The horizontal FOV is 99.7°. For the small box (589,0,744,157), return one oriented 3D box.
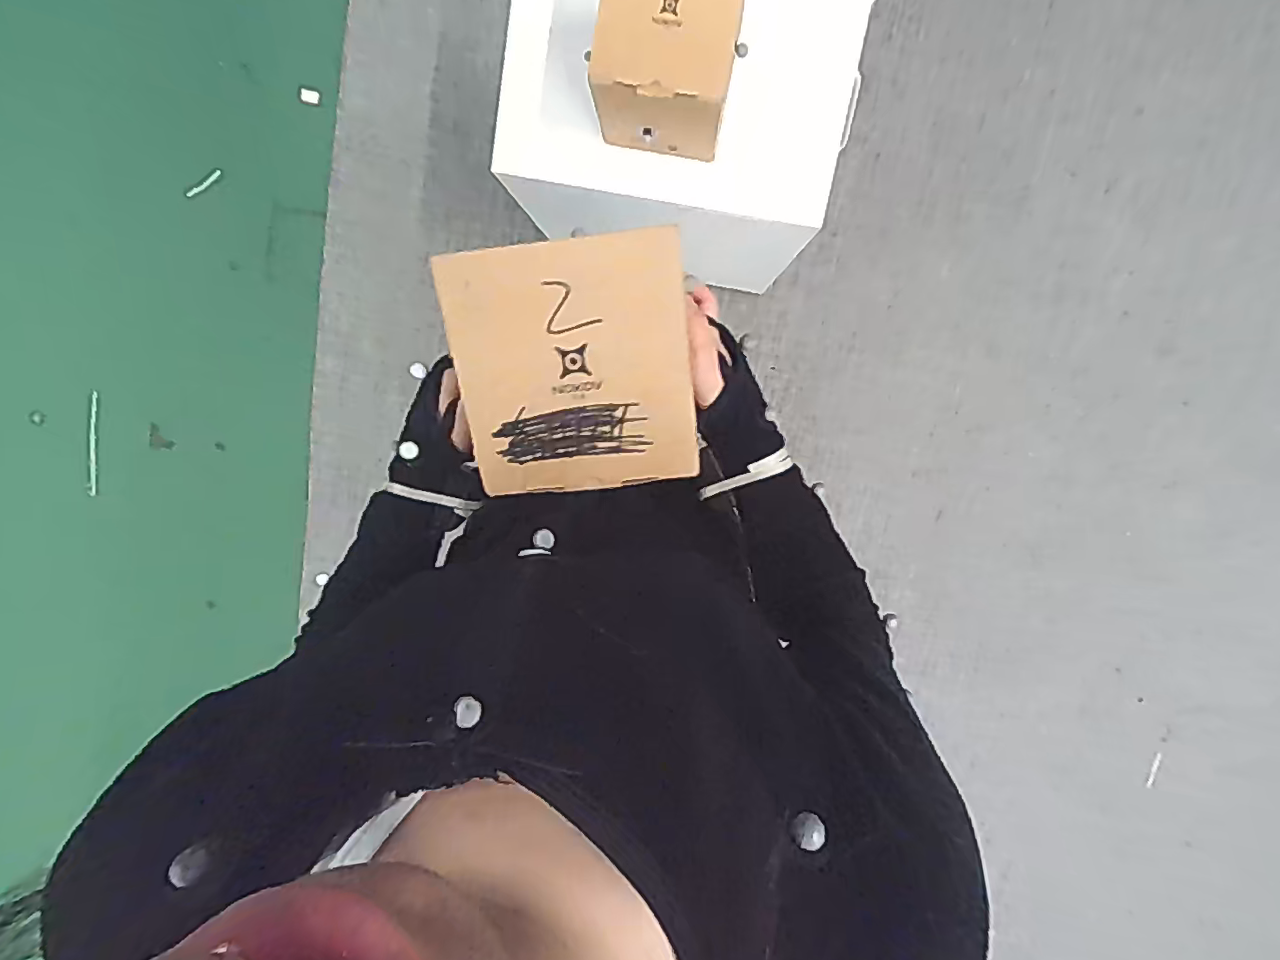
[{"bbox_3d":[0.038,-0.554,0.694,0.168,0.176,0.179,11,99,2],"label":"small box"}]
